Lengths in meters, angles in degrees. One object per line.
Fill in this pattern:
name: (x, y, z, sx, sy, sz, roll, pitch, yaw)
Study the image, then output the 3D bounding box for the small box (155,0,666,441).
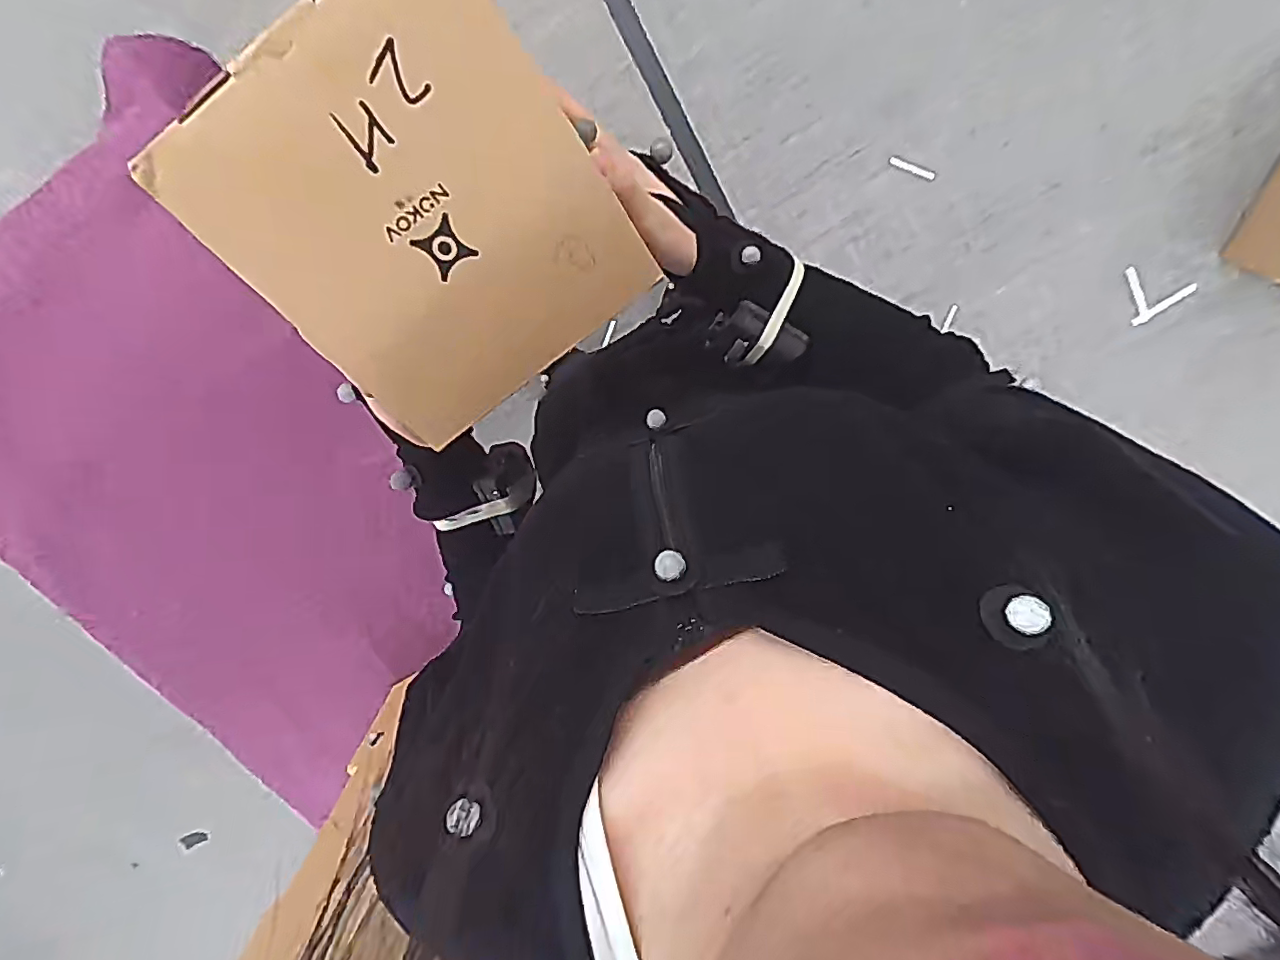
small box: (-0.113, -0.162, 0.330, 0.168, 0.176, 0.179, -36, 123, 6)

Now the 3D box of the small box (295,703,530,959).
small box: (-0.249, 0.408, 0.646, 0.179, 0.176, 0.168, -36, 106, 10)

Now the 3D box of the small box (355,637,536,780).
small box: (-0.270, 0.369, 0.805, 0.179, 0.176, 0.168, -32, 107, 9)
